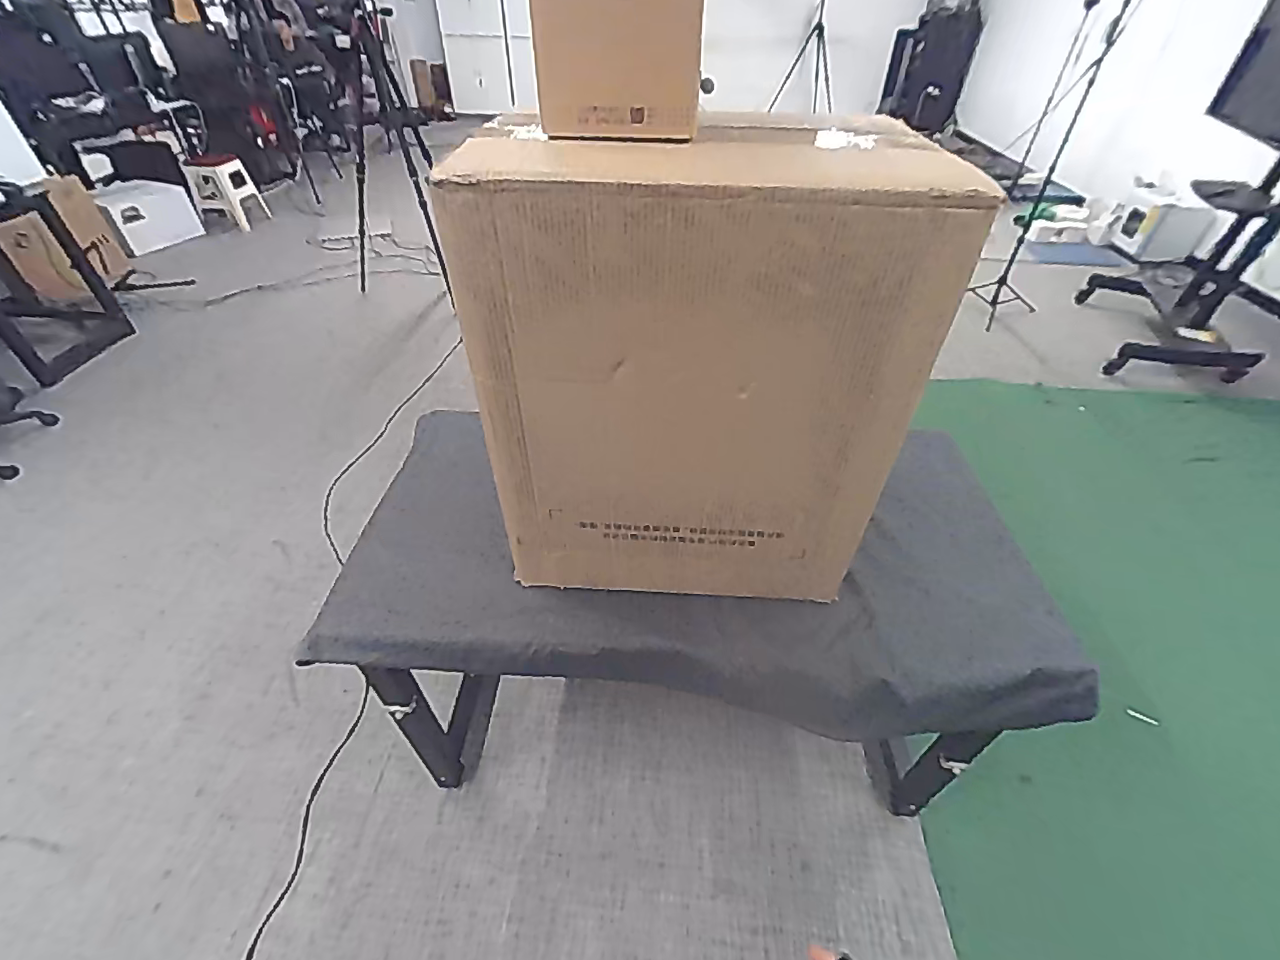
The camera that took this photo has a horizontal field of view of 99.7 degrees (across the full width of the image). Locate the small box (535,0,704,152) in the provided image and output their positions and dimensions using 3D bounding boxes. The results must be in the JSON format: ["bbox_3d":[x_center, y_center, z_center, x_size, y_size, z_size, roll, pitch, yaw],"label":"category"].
[{"bbox_3d":[-0.016,-0.476,0.596,0.168,0.176,0.179,3,40,4],"label":"small box"}]
